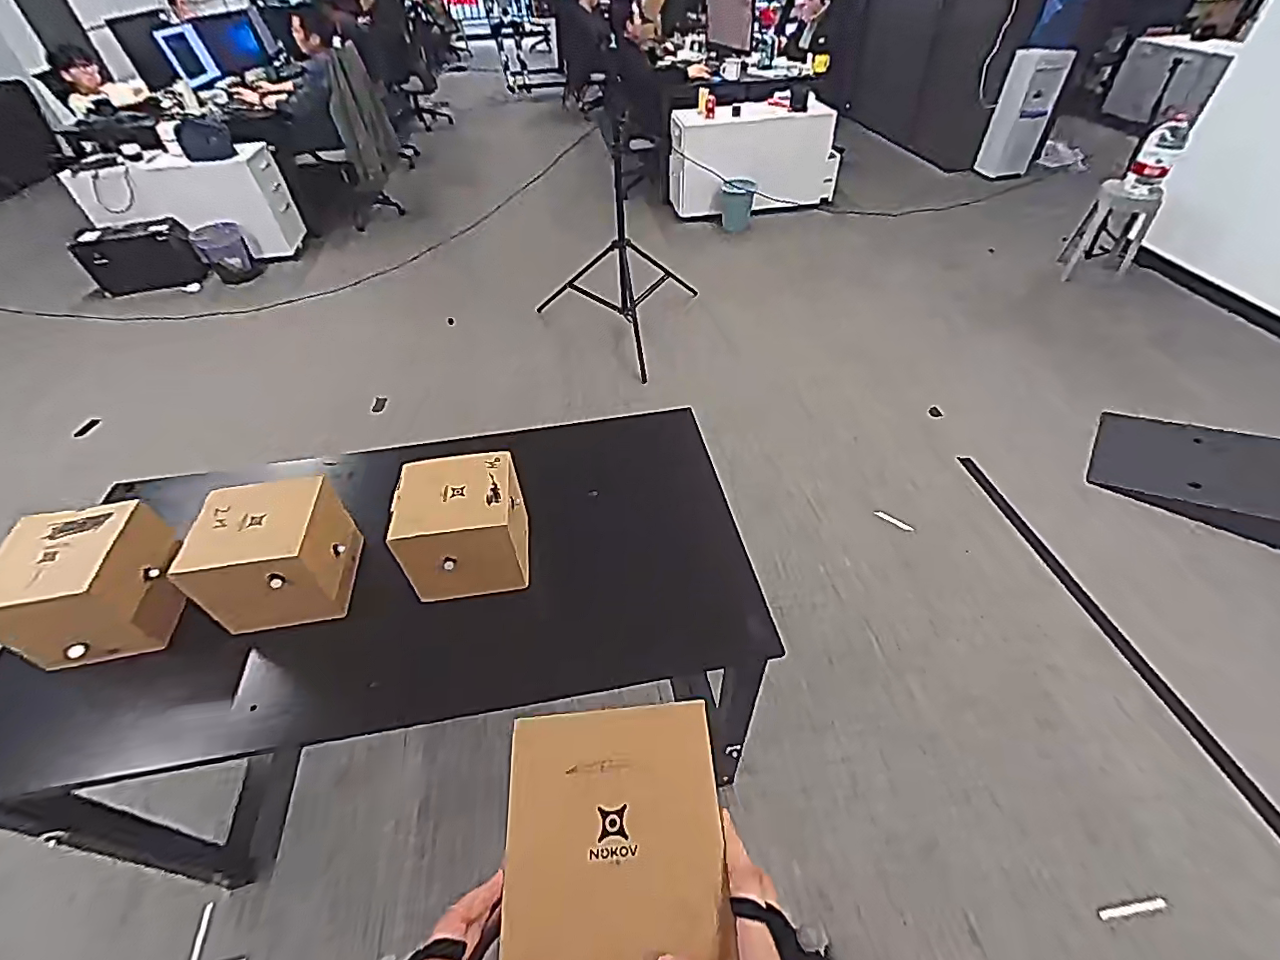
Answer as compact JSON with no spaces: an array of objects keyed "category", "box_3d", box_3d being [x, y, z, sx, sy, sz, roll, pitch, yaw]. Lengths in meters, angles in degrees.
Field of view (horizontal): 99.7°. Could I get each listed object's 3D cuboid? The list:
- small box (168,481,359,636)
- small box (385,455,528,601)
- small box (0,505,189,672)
[{"category":"small box","box_3d":[-0.579,0.126,0.866,0.179,0.176,0.168,-9,45,-6]},{"category":"small box","box_3d":[-0.290,0.084,0.897,0.179,0.176,0.168,-8,46,-4]},{"category":"small box","box_3d":[-0.841,0.168,0.838,0.168,0.176,0.179,-10,47,-7]}]
